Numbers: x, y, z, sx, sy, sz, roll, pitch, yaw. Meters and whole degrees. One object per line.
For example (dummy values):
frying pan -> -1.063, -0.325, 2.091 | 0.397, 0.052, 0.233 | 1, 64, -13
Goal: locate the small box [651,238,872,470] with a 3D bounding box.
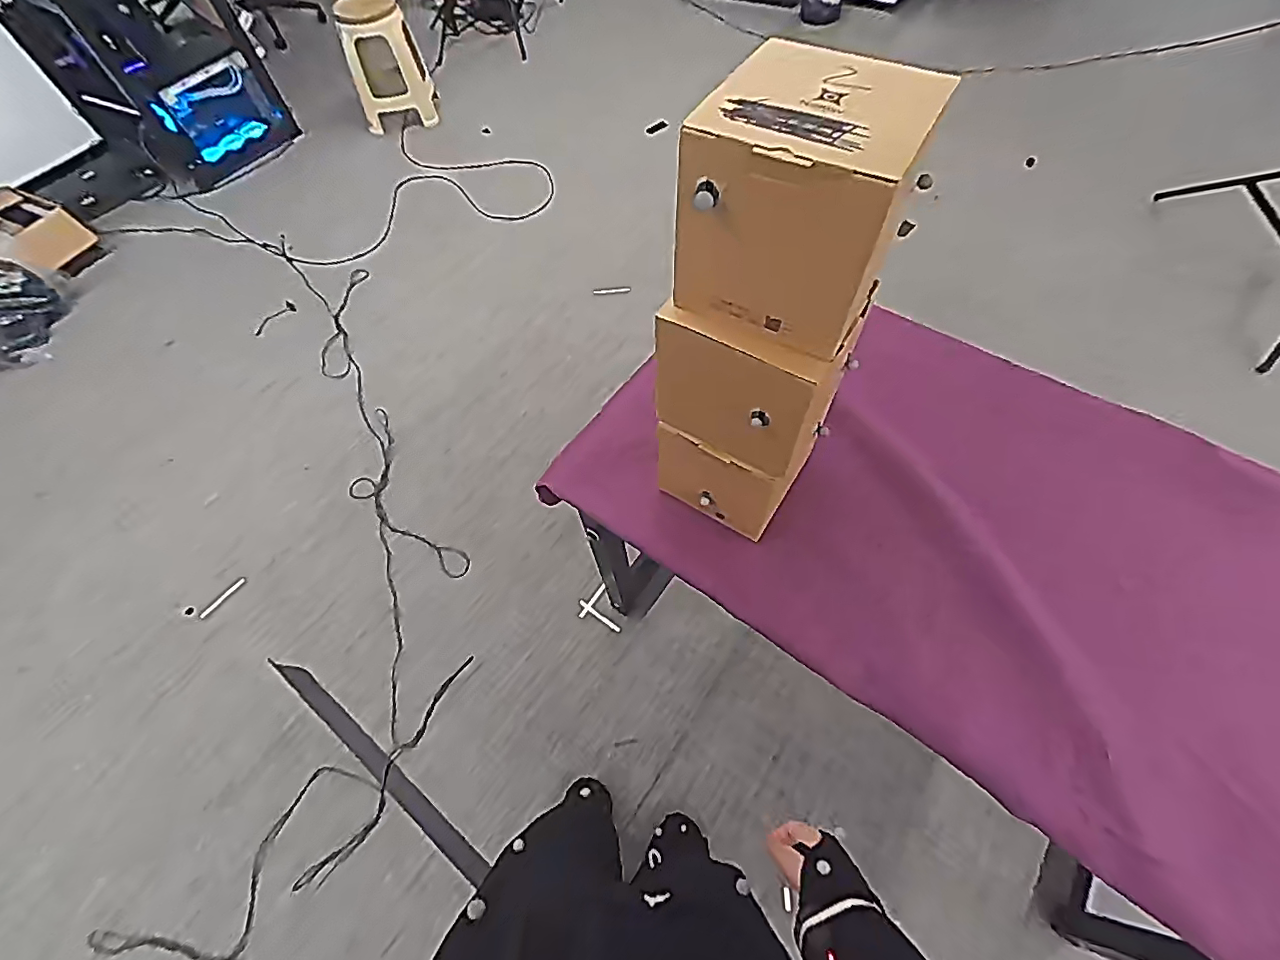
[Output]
small box -> 0.129, -0.136, 0.619 | 0.179, 0.176, 0.168 | 27, 63, 18

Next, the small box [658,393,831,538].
small box -> 0.137, -0.052, 0.758 | 0.168, 0.176, 0.179 | 29, 65, 19
